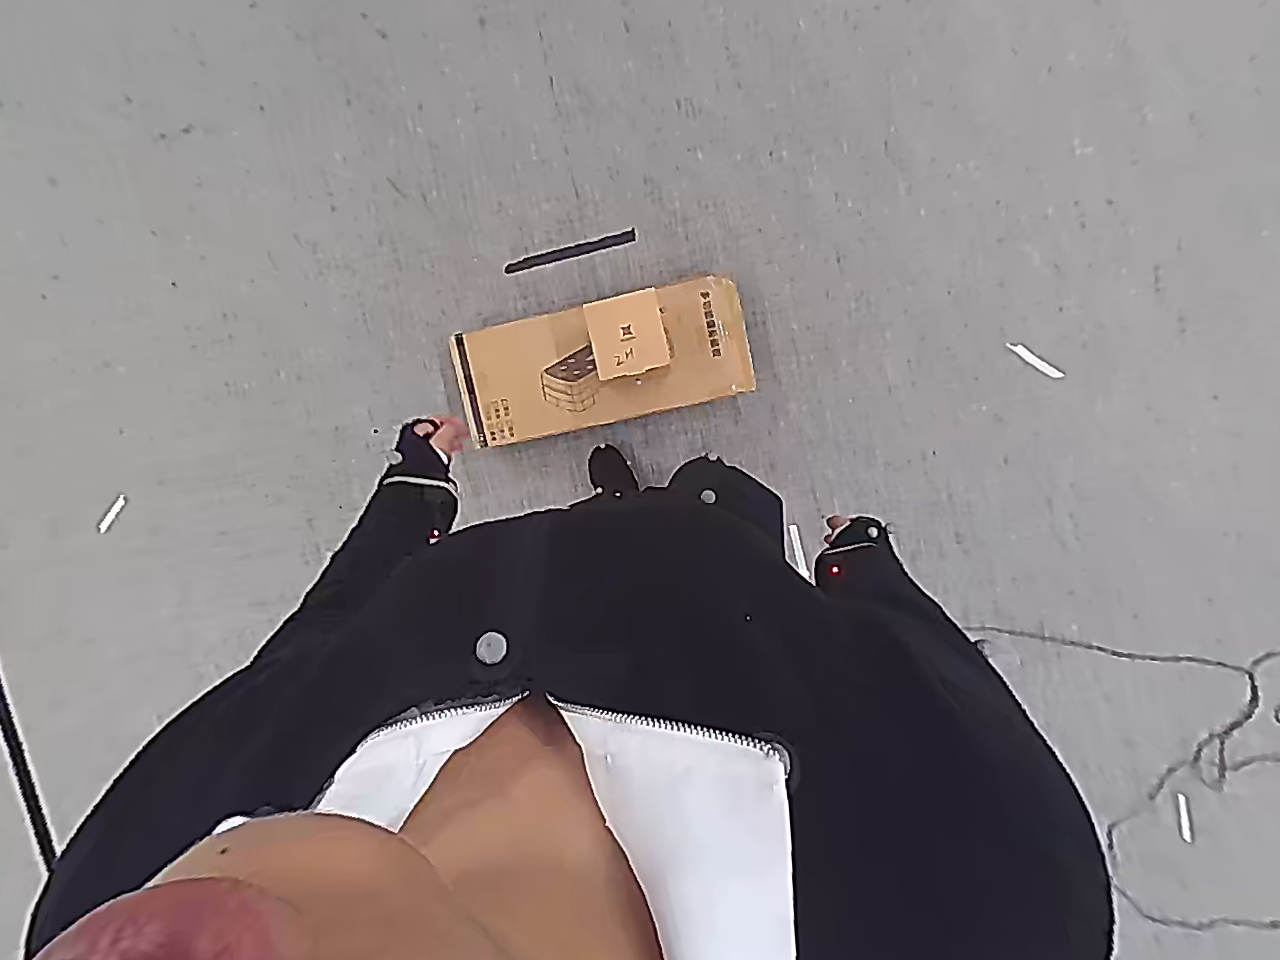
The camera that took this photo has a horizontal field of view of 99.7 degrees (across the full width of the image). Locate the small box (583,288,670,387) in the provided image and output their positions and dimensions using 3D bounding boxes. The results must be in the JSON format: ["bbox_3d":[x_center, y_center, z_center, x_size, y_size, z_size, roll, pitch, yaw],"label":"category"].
[{"bbox_3d":[-0.028,-0.328,1.275,0.168,0.176,0.179,-13,94,4],"label":"small box"}]
